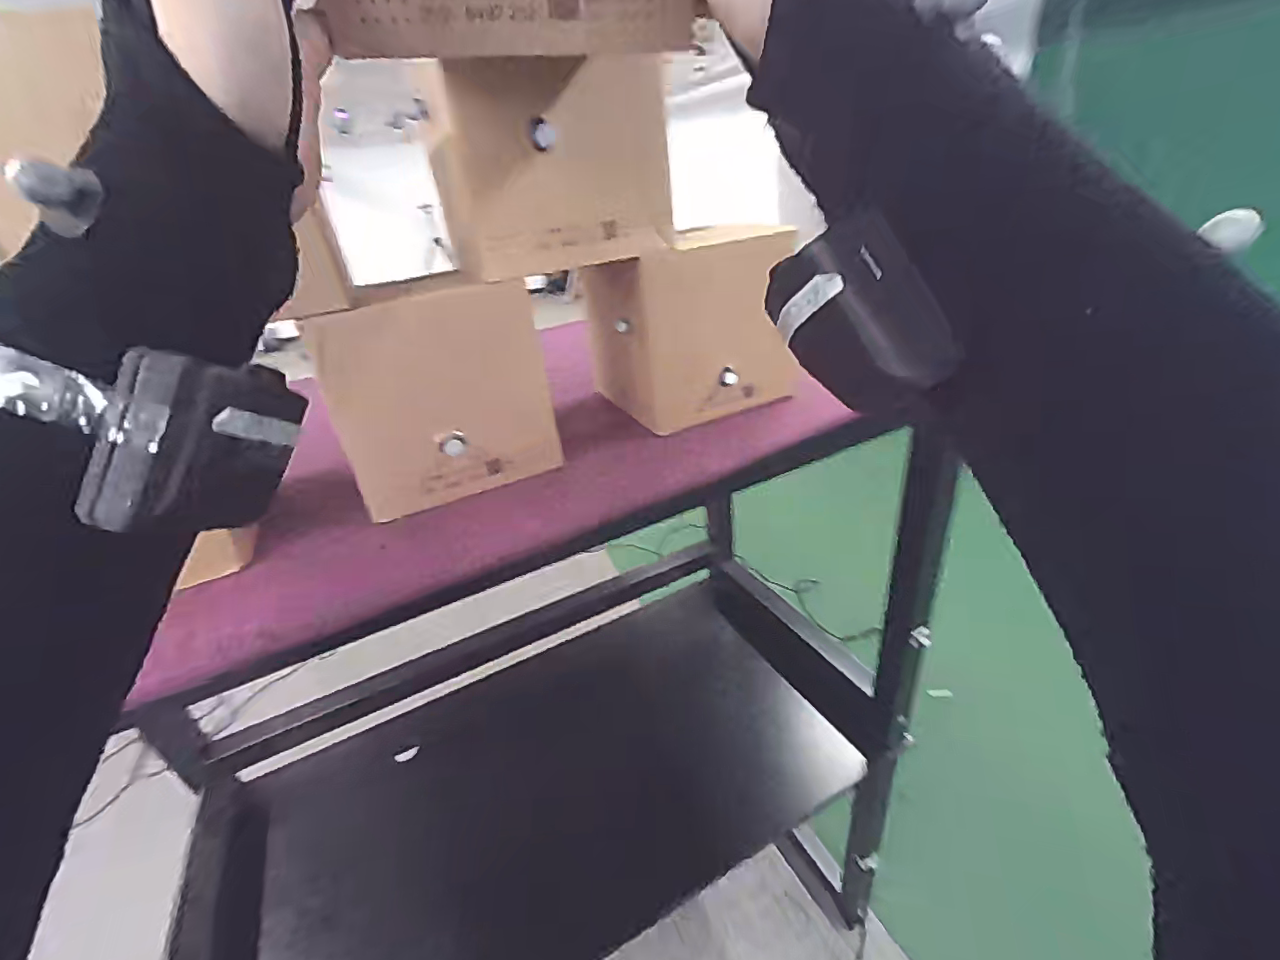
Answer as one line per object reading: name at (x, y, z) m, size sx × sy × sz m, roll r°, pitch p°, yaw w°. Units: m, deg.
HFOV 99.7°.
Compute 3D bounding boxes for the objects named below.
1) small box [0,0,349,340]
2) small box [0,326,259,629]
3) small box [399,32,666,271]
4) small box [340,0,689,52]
small box at (-0.320, -0.204, 0.375) m, size 0.168 × 0.176 × 0.179 m, roll -19°, pitch 31°, yaw -18°
small box at (-0.415, -0.020, 0.402) m, size 0.168 × 0.176 × 0.179 m, roll -20°, pitch 30°, yaw -21°
small box at (-0.089, -0.281, 0.461) m, size 0.168 × 0.176 × 0.179 m, roll -18°, pitch 31°, yaw -19°
small box at (-0.064, -0.317, 0.243) m, size 0.168 × 0.176 × 0.179 m, roll -4°, pitch 52°, yaw -6°
